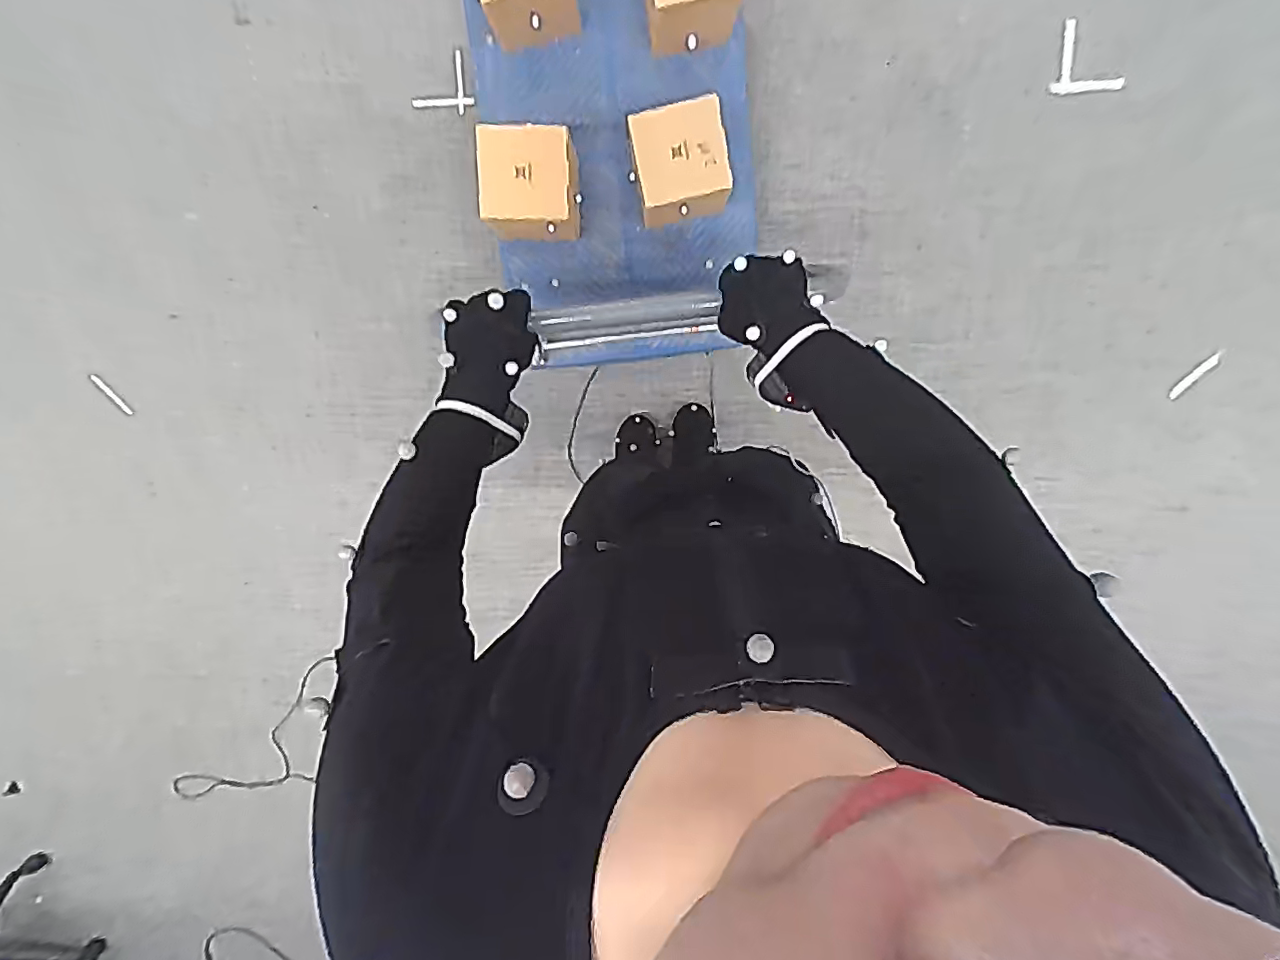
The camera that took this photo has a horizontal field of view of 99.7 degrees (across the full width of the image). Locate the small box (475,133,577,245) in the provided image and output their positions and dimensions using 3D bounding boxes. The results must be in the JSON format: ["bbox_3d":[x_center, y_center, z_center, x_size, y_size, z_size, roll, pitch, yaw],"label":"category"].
[{"bbox_3d":[-0.227,-0.590,1.116,0.179,0.176,0.168,0,101,0],"label":"small box"}]

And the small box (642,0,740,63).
[{"bbox_3d":[0.088,-0.954,1.038,0.168,0.176,0.179,-10,102,3],"label":"small box"}]

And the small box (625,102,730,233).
[{"bbox_3d":[0.075,-0.623,1.103,0.179,0.176,0.168,-12,101,3],"label":"small box"}]
